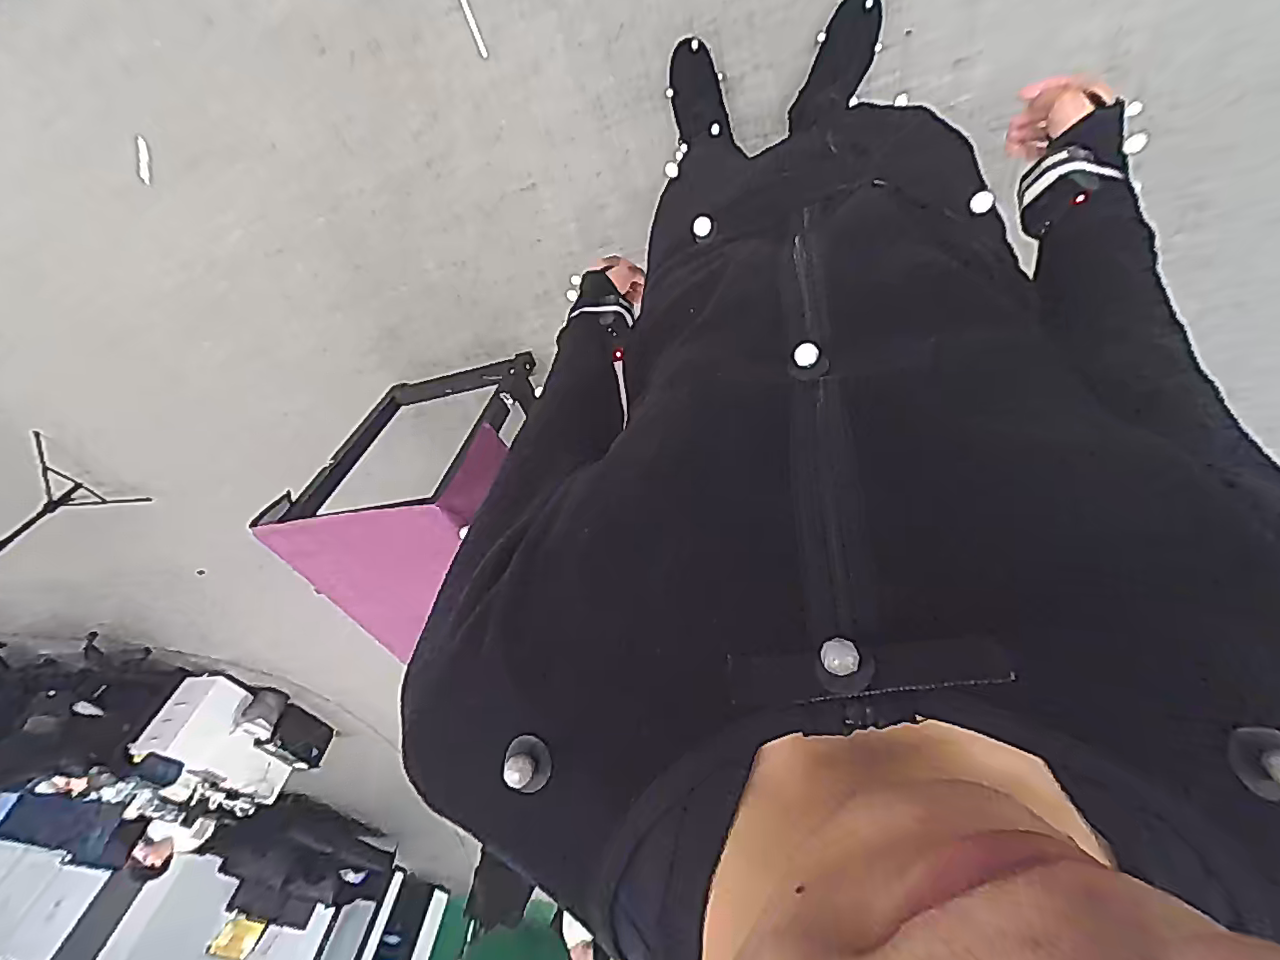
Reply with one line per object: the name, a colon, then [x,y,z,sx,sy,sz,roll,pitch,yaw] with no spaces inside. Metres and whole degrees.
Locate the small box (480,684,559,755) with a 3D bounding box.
small box: [-0.399,0.806,1.820,0.179,0.176,0.168,-16,129,25]
